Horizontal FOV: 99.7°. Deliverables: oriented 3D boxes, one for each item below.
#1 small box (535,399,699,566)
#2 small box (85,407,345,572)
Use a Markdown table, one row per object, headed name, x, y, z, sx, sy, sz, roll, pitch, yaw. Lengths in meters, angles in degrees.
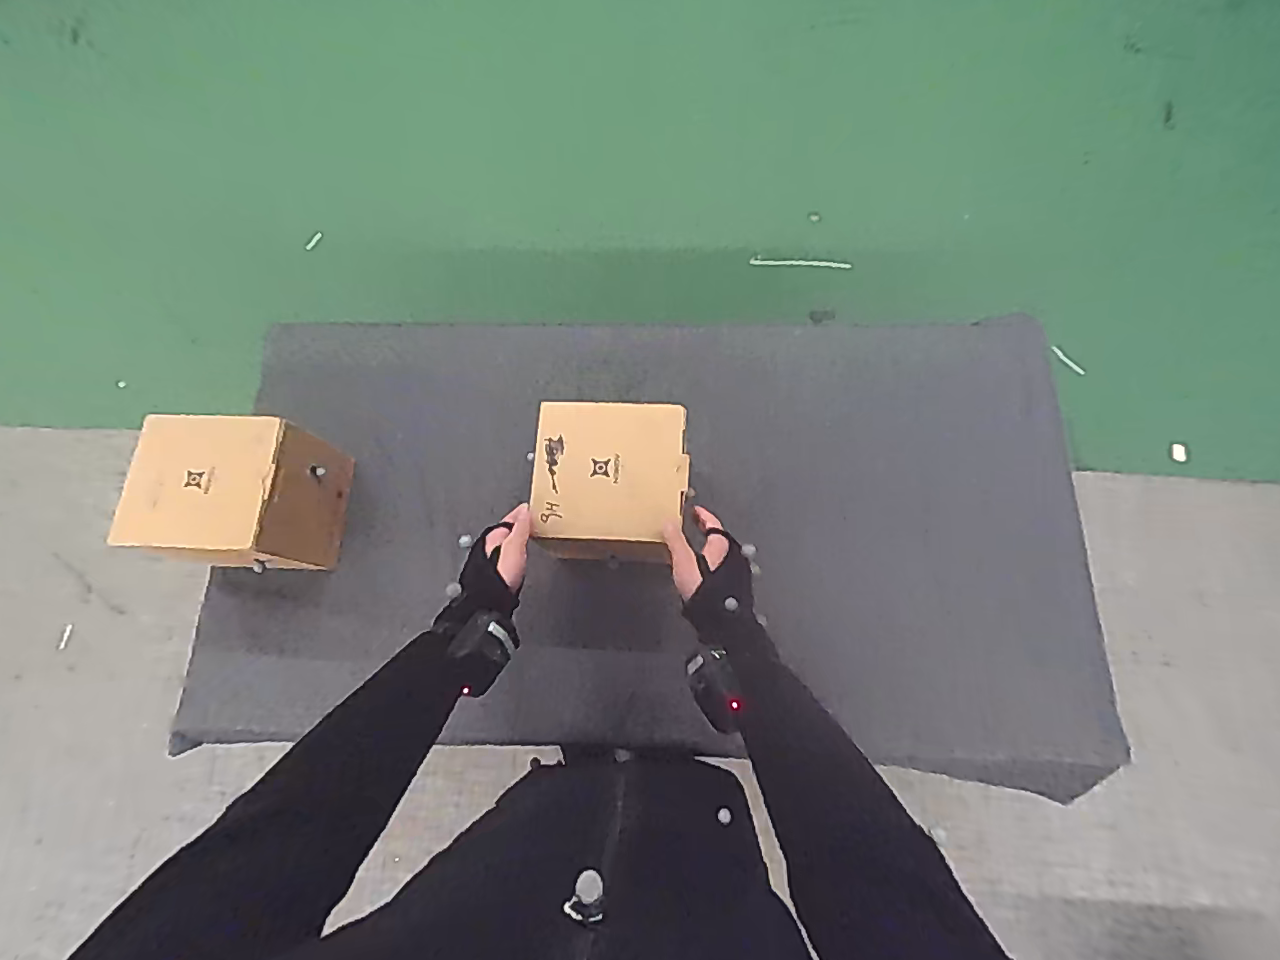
| name | x | y | z | sx | sy | sz | roll | pitch | yaw |
| --- | --- | --- | --- | --- | --- | --- | --- | --- | --- |
| small box | -0.025 | 0.013 | 0.684 | 0.179 | 0.176 | 0.168 | 3 | 72 | 0 |
| small box | -0.507 | 0.020 | 0.679 | 0.179 | 0.176 | 0.168 | 1 | 71 | 1 |
